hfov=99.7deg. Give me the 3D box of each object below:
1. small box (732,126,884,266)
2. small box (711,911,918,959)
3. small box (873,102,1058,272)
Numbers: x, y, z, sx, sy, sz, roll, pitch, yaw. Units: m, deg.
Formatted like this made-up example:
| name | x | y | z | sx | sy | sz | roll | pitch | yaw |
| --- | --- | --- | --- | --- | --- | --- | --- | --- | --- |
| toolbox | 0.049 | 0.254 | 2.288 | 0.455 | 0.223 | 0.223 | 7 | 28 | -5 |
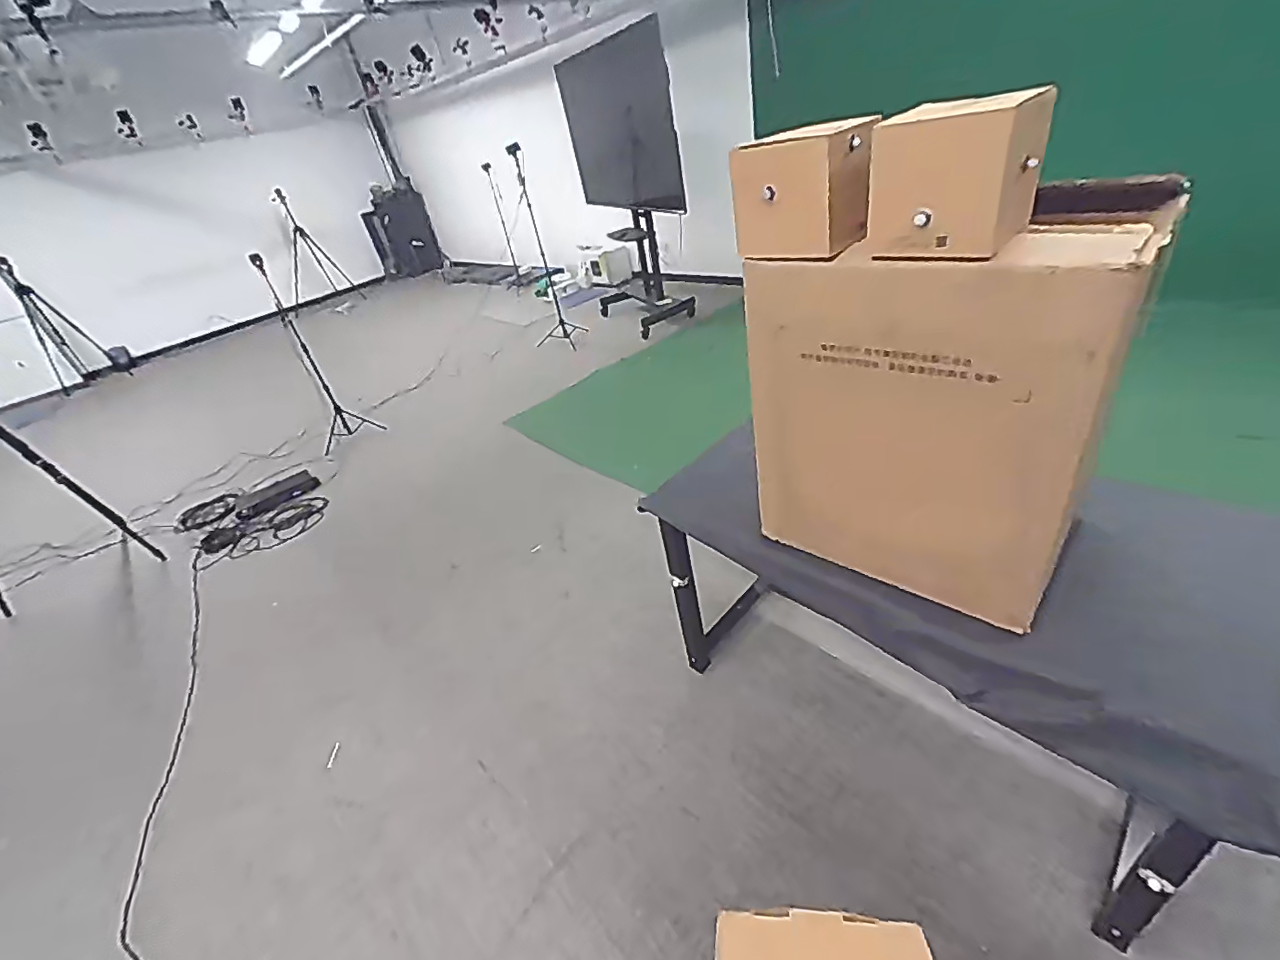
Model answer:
| name | x | y | z | sx | sy | sz | roll | pitch | yaw |
| --- | --- | --- | --- | --- | --- | --- | --- | --- | --- |
| small box | 0.274 | -0.459 | 0.886 | 0.179 | 0.176 | 0.168 | 21 | 46 | 41 |
| small box | 0.134 | 0.475 | 0.403 | 0.168 | 0.176 | 0.179 | 0 | 21 | 5 |
| small box | 0.438 | -0.403 | 0.749 | 0.168 | 0.176 | 0.179 | 22 | 47 | 39 |
